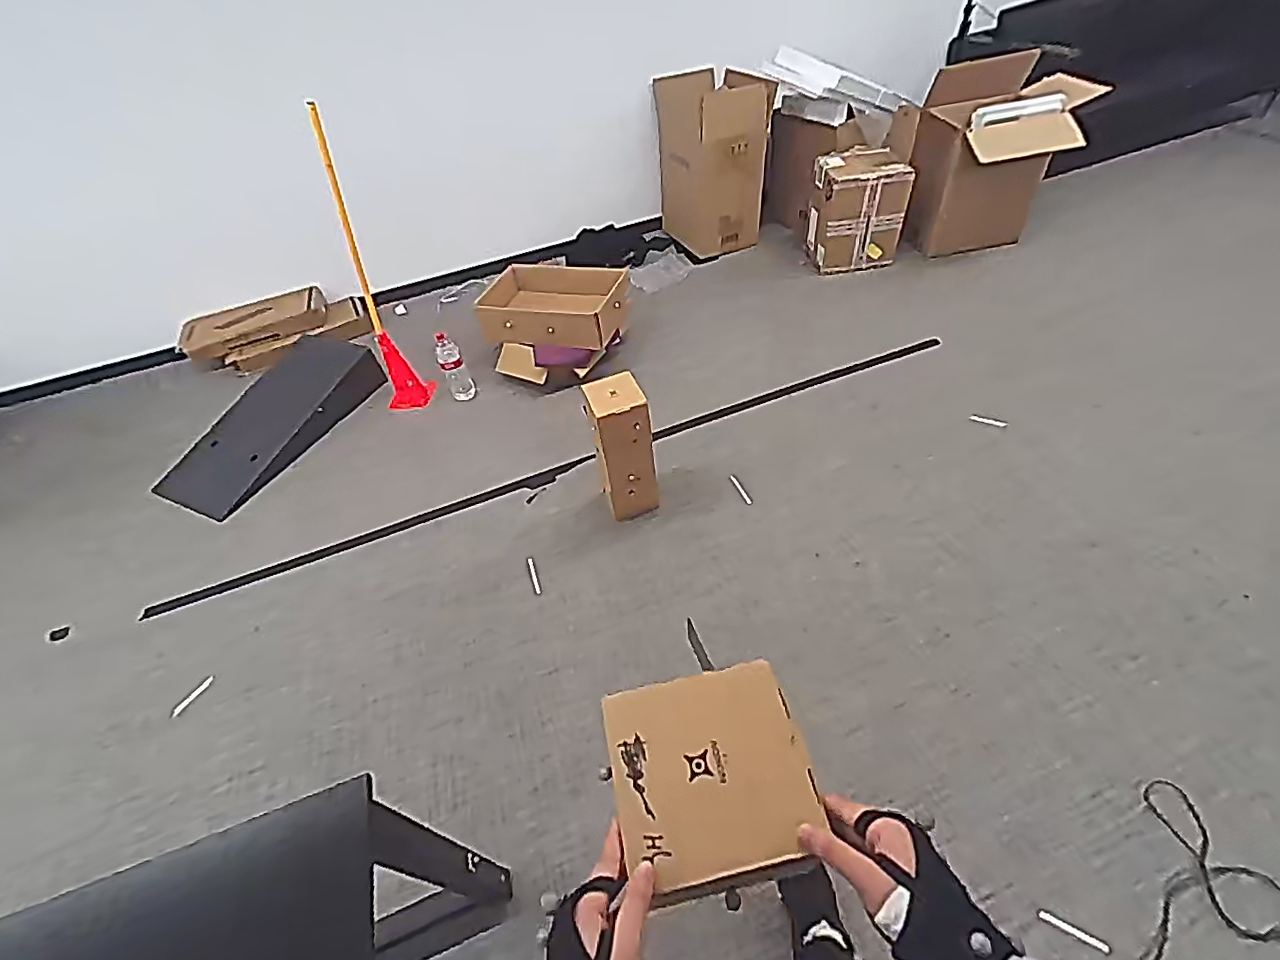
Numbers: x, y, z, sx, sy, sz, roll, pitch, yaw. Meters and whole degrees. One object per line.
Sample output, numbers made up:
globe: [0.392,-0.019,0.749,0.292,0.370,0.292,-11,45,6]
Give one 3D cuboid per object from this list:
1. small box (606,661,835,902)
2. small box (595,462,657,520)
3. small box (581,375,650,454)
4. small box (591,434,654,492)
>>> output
small box: [0.068,0.309,0.551,0.179,0.176,0.168,-10,49,-5]
small box: [-0.049,0.020,1.961,0.179,0.176,0.168,-18,48,-10]
small box: [-0.076,-0.201,1.722,0.168,0.176,0.179,-18,47,-11]
small box: [-0.061,-0.088,1.838,0.168,0.176,0.179,-19,48,-9]
